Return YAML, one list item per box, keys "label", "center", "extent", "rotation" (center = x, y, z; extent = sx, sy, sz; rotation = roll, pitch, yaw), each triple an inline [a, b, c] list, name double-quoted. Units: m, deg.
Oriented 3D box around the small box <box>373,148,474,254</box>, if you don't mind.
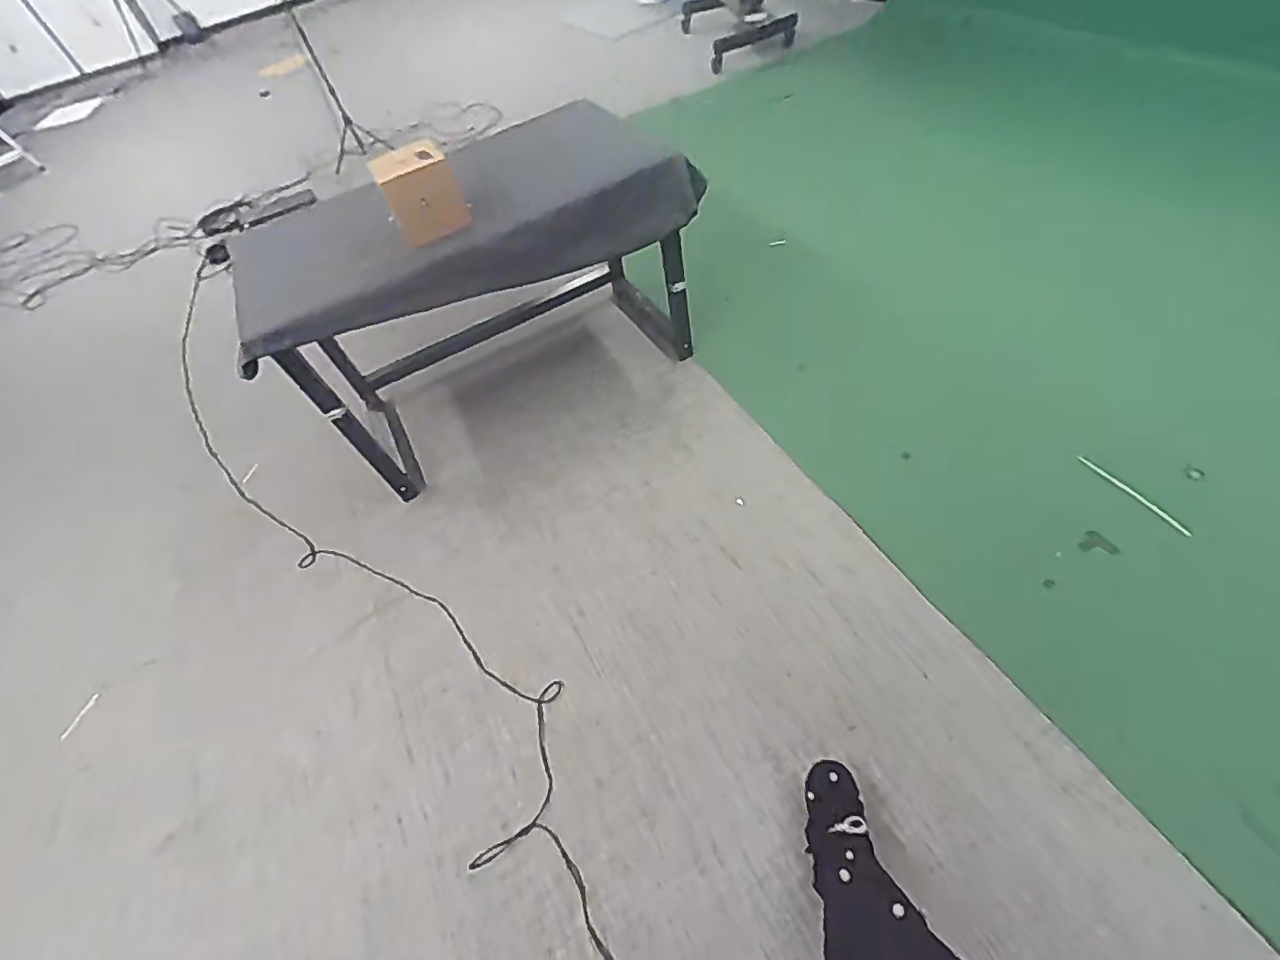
- label: "small box"
  center: [-0.552, -0.721, 1.403]
  extent: [0.179, 0.176, 0.168]
  rotation: [-30, 54, -13]
